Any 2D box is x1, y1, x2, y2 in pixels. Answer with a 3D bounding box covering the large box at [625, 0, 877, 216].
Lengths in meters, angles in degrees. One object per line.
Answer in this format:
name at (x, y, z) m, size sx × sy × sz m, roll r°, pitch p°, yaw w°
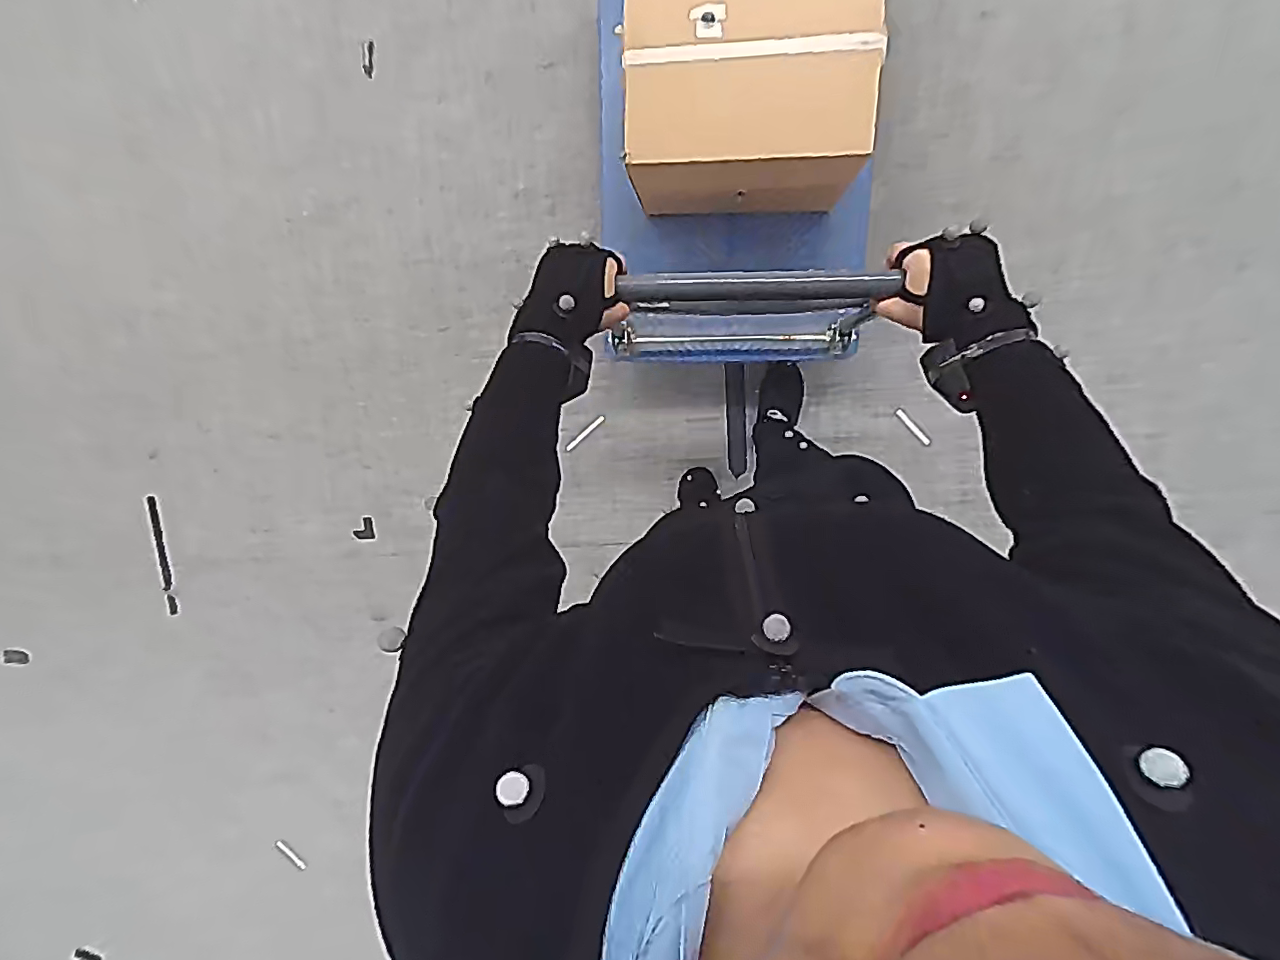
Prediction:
large box at (0.196, -0.713, 1.022) m, size 0.408 × 0.320 × 0.320 m, roll 1°, pitch 100°, yaw 8°
